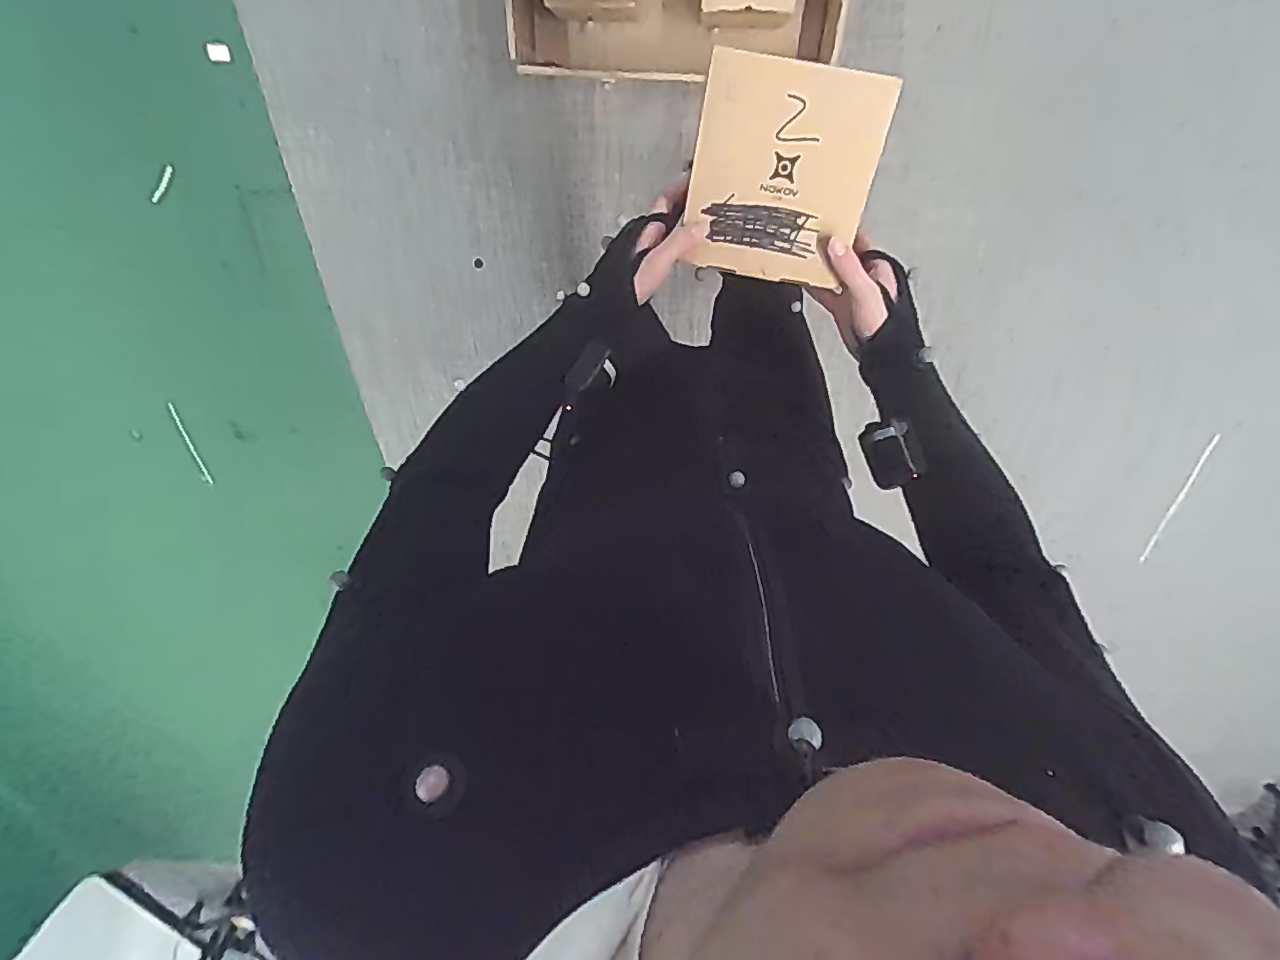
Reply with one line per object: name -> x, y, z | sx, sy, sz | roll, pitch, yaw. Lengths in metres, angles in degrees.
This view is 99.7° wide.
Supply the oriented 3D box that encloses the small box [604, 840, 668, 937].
small box -> -0.005, 1.161, 1.539 | 0.168, 0.176, 0.179 | -1, 123, 5
